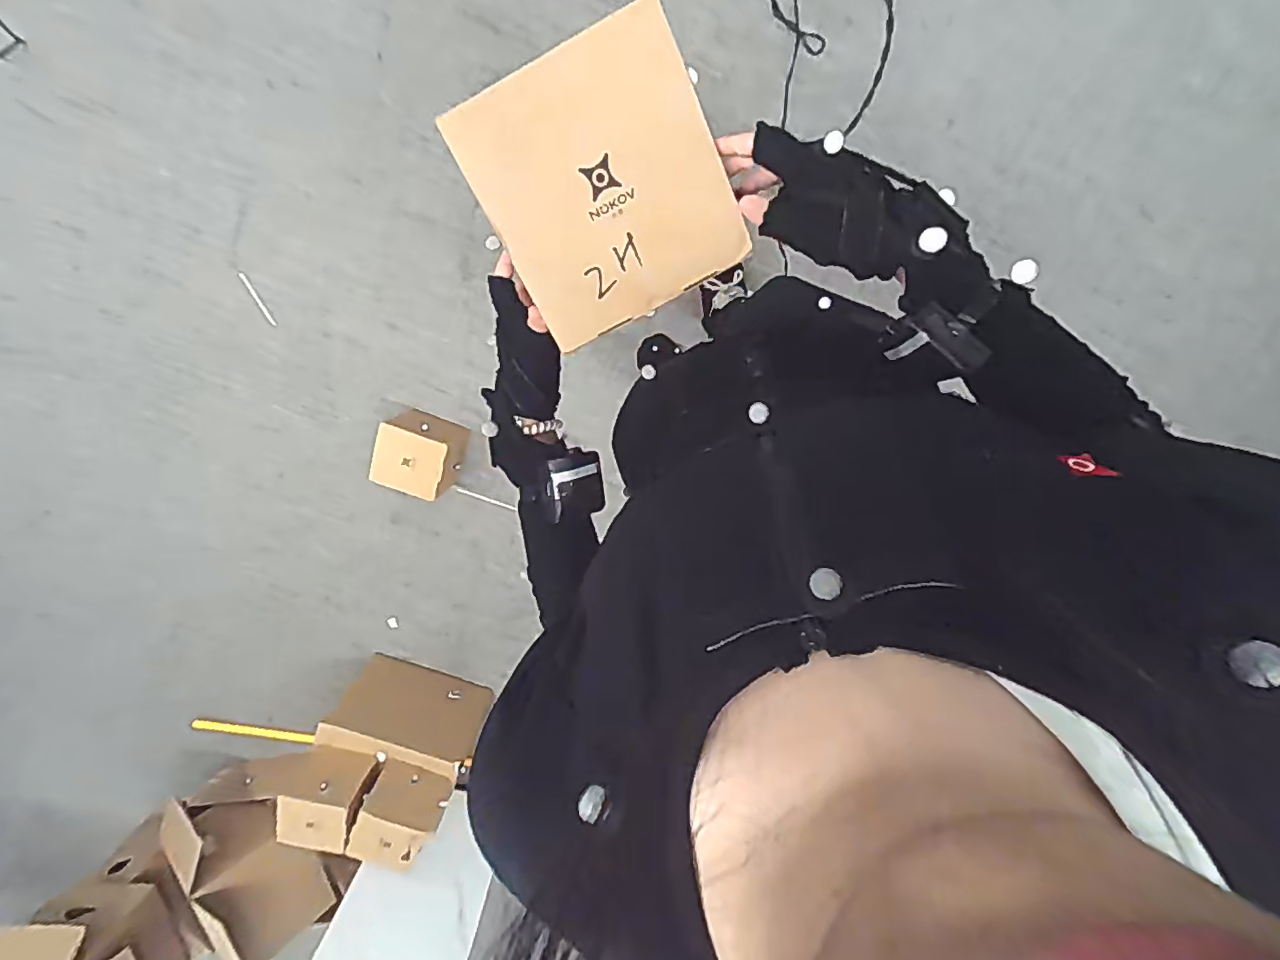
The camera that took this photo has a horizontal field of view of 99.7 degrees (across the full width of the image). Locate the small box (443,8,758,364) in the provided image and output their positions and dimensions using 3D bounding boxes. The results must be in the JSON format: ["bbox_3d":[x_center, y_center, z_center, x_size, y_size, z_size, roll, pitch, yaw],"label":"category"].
[{"bbox_3d":[-0.028,-0.220,0.449,0.168,0.176,0.179,-26,111,6],"label":"small box"}]

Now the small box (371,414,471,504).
[{"bbox_3d":[-0.572,-0.063,1.429,0.179,0.176,0.168,19,109,-6],"label":"small box"}]
